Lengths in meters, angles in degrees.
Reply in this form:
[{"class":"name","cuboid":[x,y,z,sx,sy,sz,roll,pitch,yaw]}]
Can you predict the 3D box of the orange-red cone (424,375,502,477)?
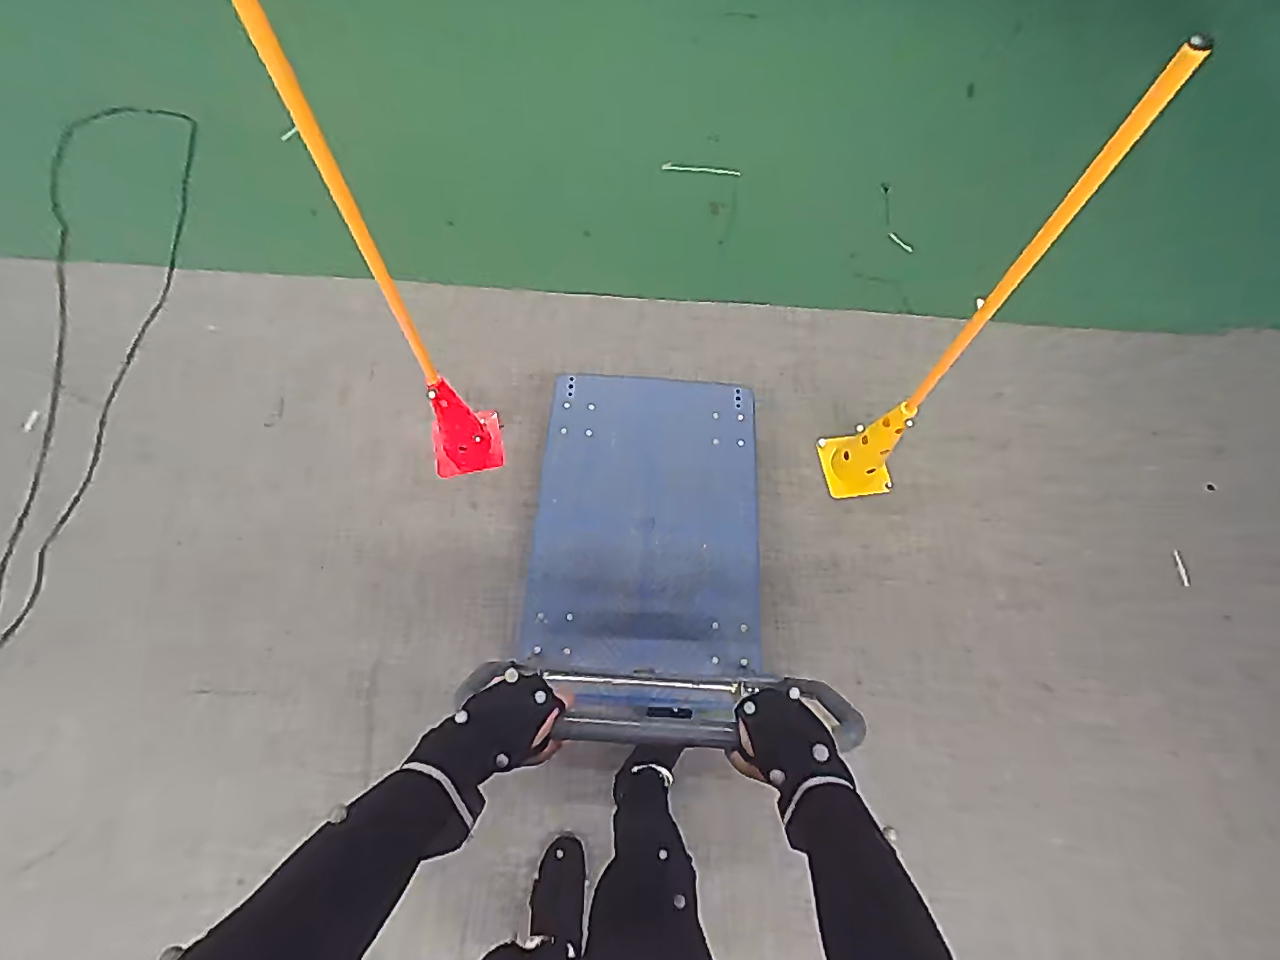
[{"class":"orange-red cone","cuboid":[-0.517,-0.173,1.480,0.199,0.360,0.198,-11,68,-6]}]
